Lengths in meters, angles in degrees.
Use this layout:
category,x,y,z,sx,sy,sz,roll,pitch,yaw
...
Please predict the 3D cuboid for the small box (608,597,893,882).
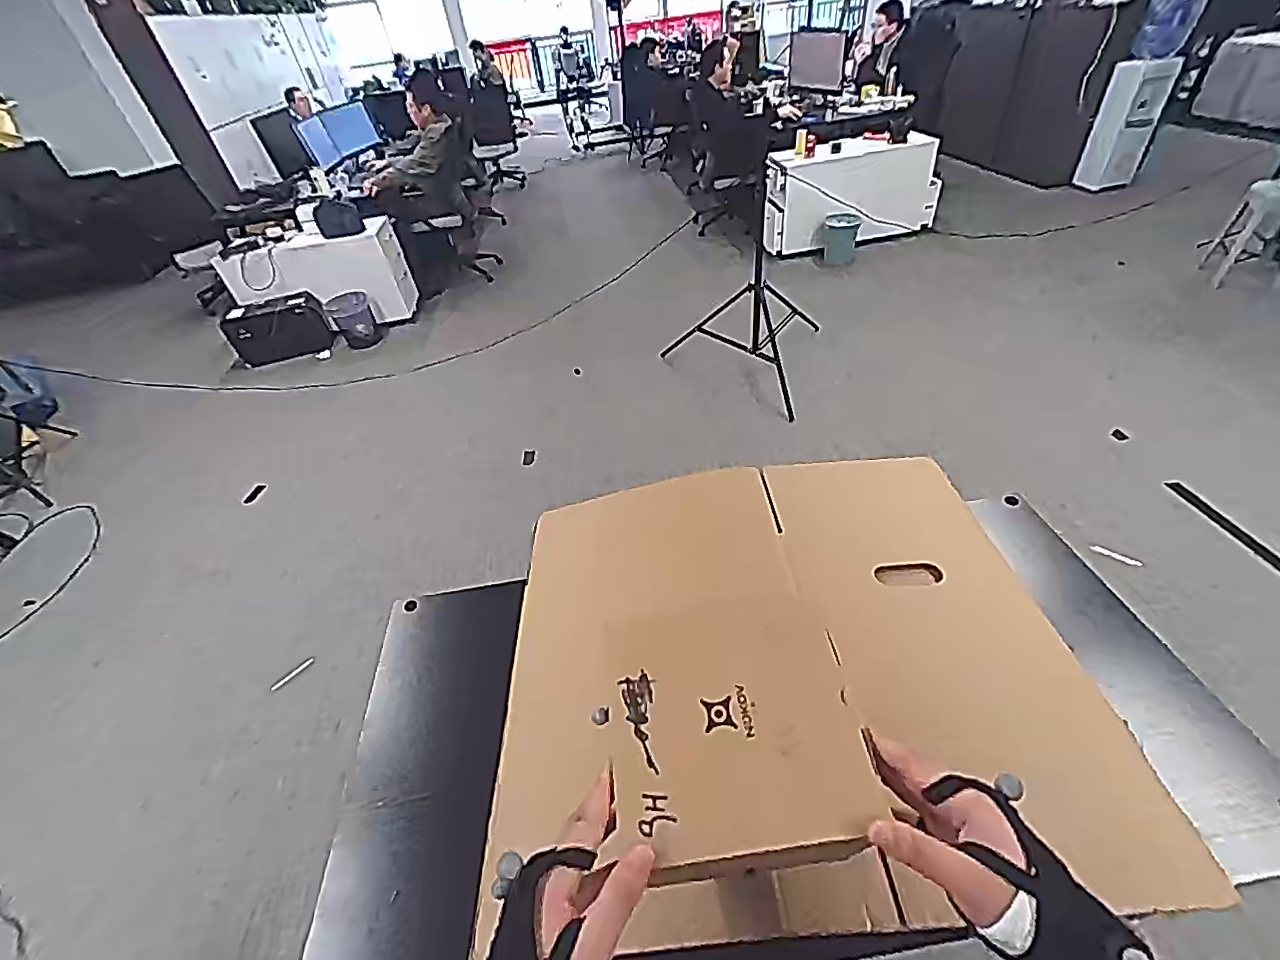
category,x,y,z,sx,sy,sz,roll,pitch,yaw
small box,0.072,0.218,0.450,0.179,0.176,0.168,-7,49,-1
